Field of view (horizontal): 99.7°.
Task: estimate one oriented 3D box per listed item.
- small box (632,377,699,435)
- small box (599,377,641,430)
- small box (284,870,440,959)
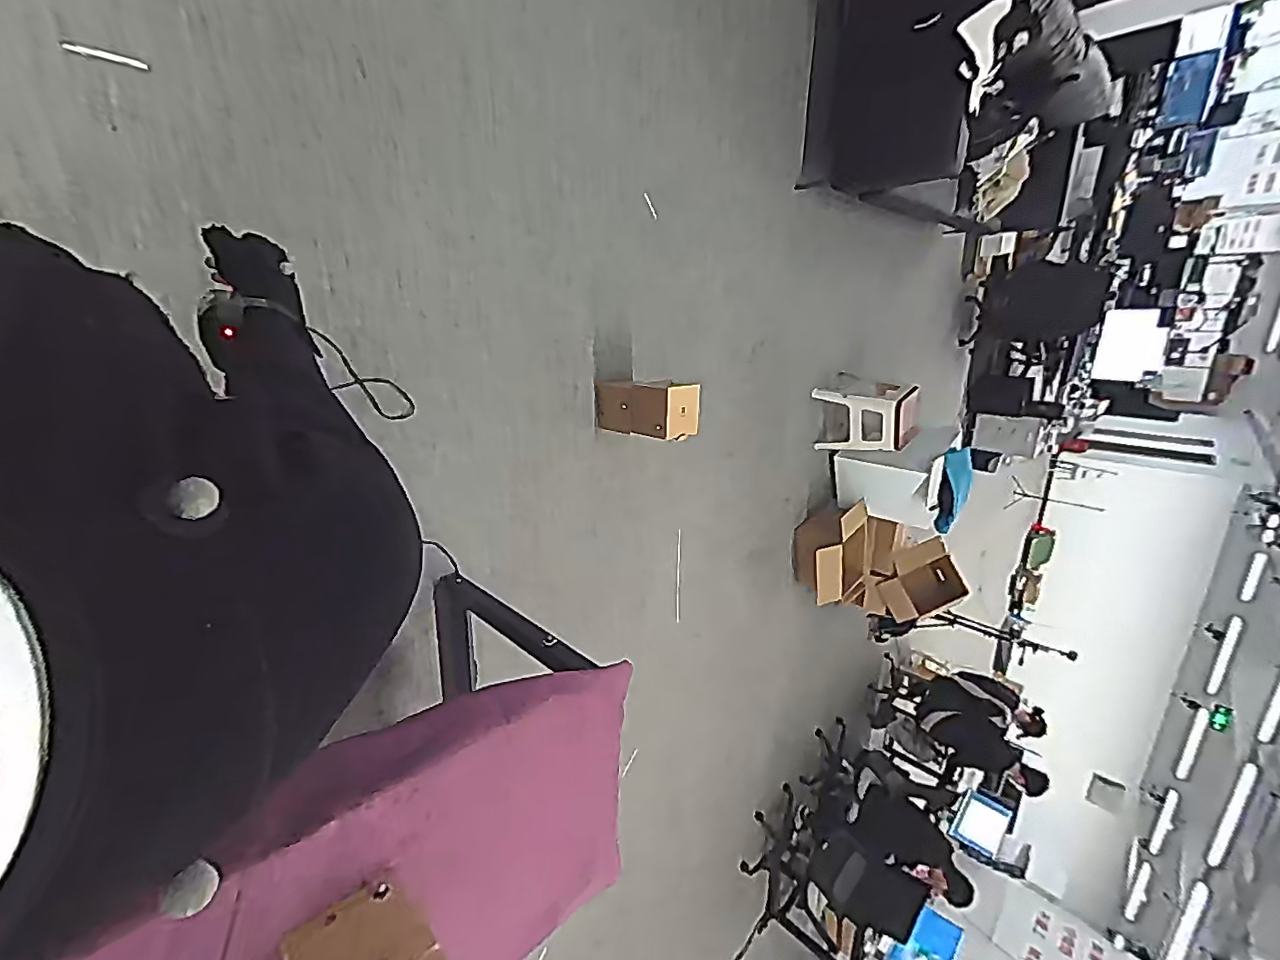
[{"bbox_3d":[0.086,-0.262,1.858,0.168,0.176,0.179,-16,114,-43],"label":"small box"},{"bbox_3d":[-0.031,-0.284,1.971,0.179,0.176,0.168,-16,113,-43],"label":"small box"},{"bbox_3d":[-0.416,0.741,0.815,0.168,0.176,0.179,-11,111,-44],"label":"small box"}]
